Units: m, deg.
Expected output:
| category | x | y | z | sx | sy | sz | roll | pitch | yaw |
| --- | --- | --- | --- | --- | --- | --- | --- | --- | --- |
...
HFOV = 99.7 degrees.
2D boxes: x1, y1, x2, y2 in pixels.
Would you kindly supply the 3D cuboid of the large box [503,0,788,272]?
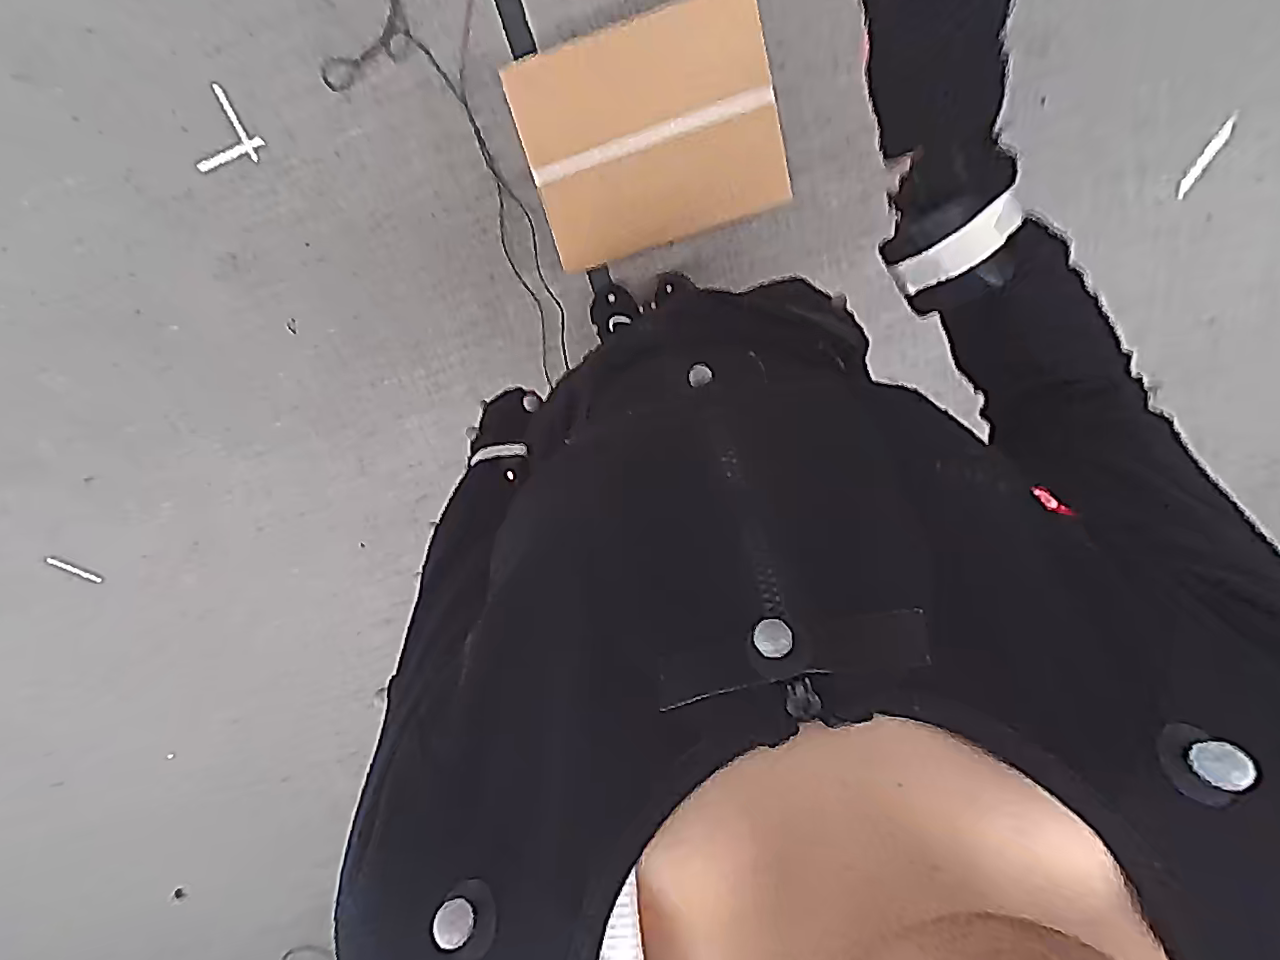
| category | x | y | z | sx | sy | sz | roll | pitch | yaw |
| --- | --- | --- | --- | --- | --- | --- | --- | --- | --- |
| large box | 0.014 | -0.609 | 1.015 | 0.408 | 0.320 | 0.320 | -16 | 112 | 5 |
